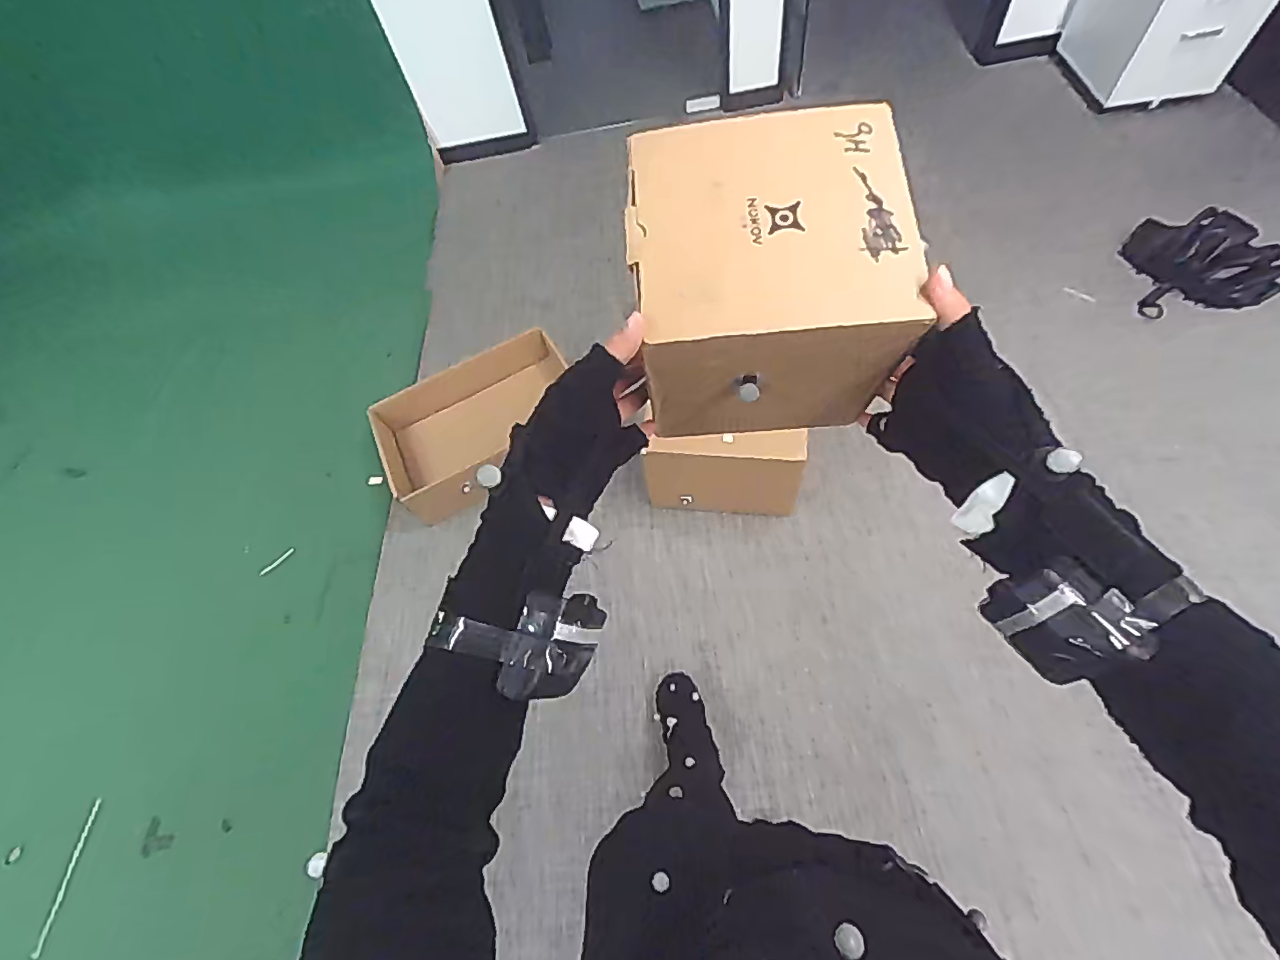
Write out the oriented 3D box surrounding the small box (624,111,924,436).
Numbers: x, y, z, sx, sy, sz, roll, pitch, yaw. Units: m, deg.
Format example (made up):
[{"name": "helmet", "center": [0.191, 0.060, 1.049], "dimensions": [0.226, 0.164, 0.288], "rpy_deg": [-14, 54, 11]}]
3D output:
[{"name": "small box", "center": [0.088, -0.141, 0.423], "dimensions": [0.179, 0.176, 0.168], "rpy_deg": [-4, 74, 5]}]
